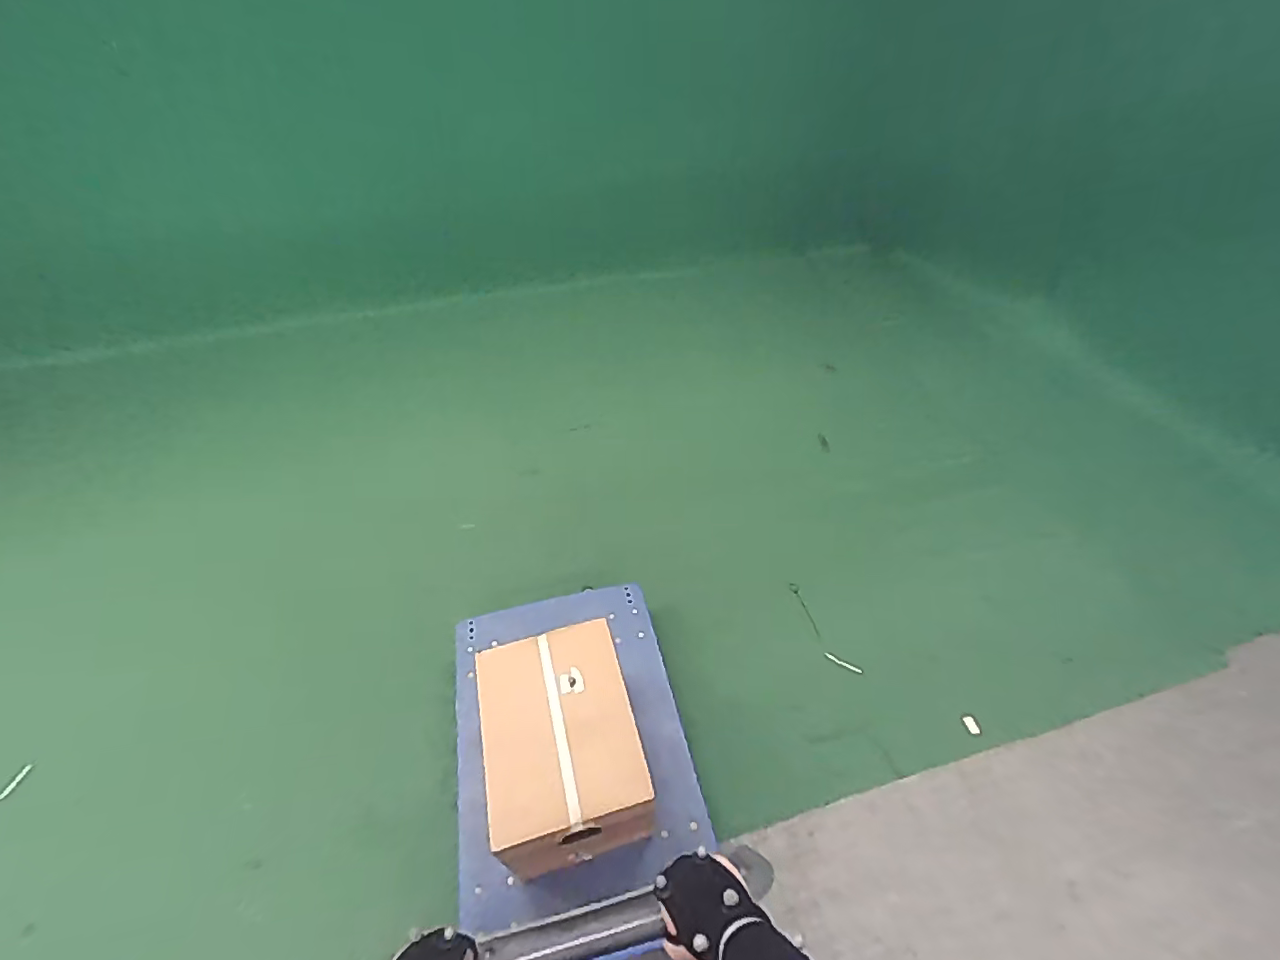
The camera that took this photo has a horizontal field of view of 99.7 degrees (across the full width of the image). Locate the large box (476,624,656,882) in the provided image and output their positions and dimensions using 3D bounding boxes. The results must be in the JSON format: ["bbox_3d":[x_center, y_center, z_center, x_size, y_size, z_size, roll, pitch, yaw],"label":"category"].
[{"bbox_3d":[-0.169,0.619,1.246,0.320,0.320,0.408,-13,46,-11],"label":"large box"}]
